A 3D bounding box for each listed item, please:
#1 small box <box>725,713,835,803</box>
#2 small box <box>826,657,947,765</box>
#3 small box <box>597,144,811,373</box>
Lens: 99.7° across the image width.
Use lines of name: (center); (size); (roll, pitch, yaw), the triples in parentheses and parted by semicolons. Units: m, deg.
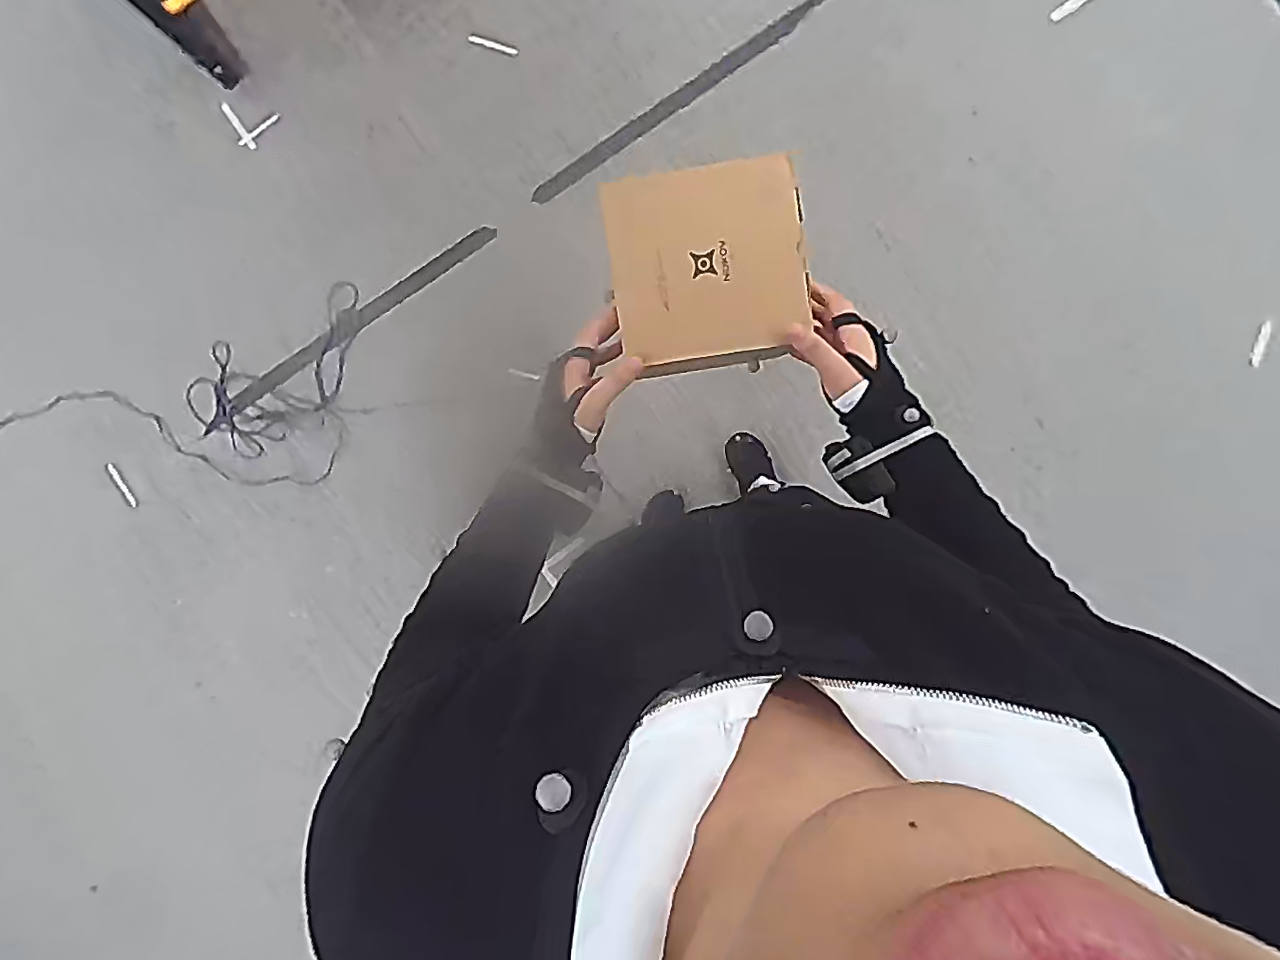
small box: (0.308, 0.660, 1.237); (0.168, 0.176, 0.179); (-37, 90, 2)
small box: (0.543, 0.490, 1.224); (0.179, 0.176, 0.168); (-38, 90, 3)
small box: (0.060, -0.212, 0.566); (0.179, 0.176, 0.168); (-10, 96, 3)
